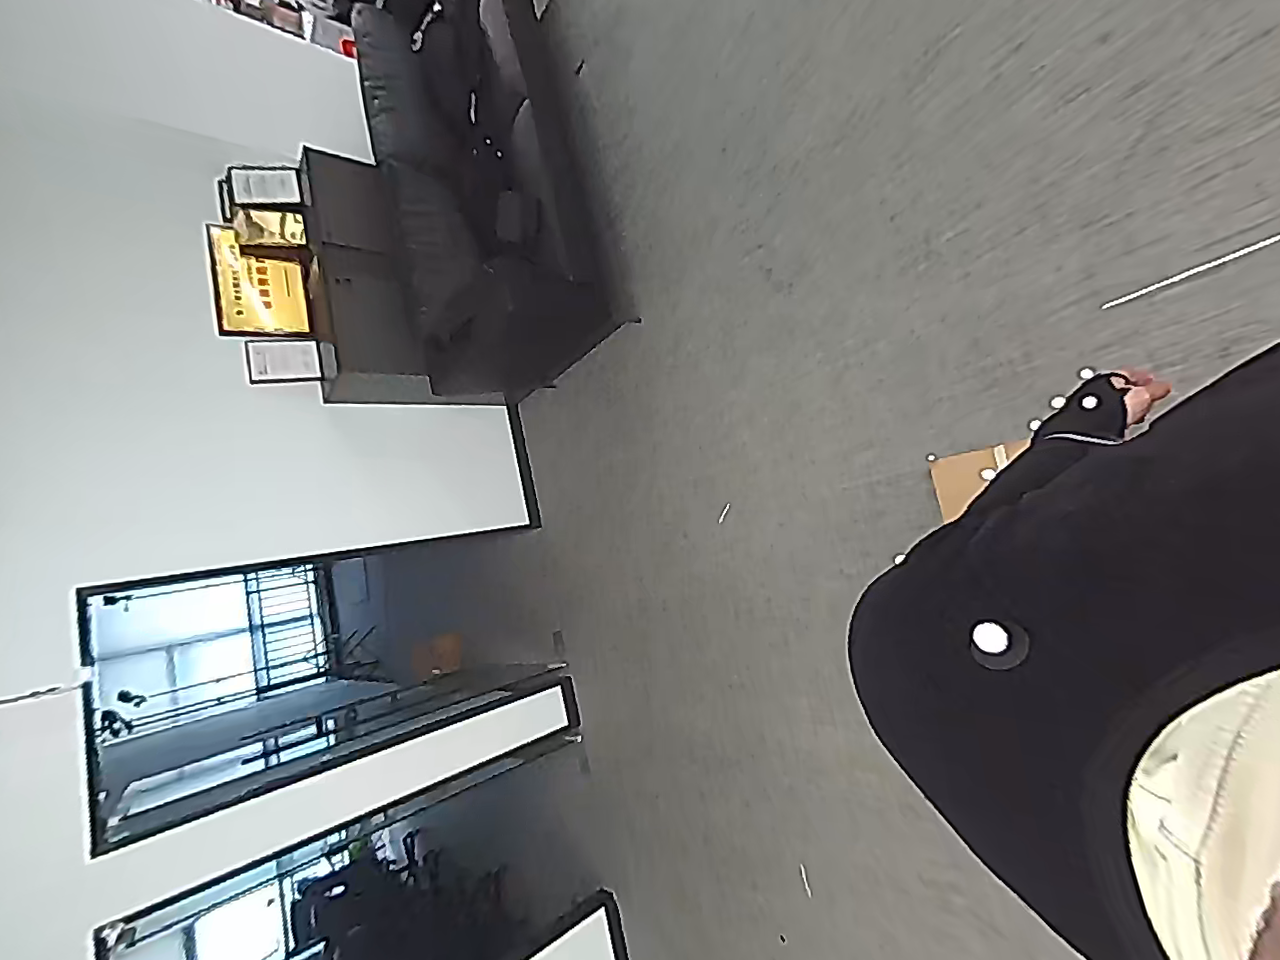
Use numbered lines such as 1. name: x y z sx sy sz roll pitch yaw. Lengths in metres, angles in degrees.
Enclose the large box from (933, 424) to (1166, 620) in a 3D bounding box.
1. large box: 0.968 0.101 1.288 0.320 0.320 0.408 -18 80 49
